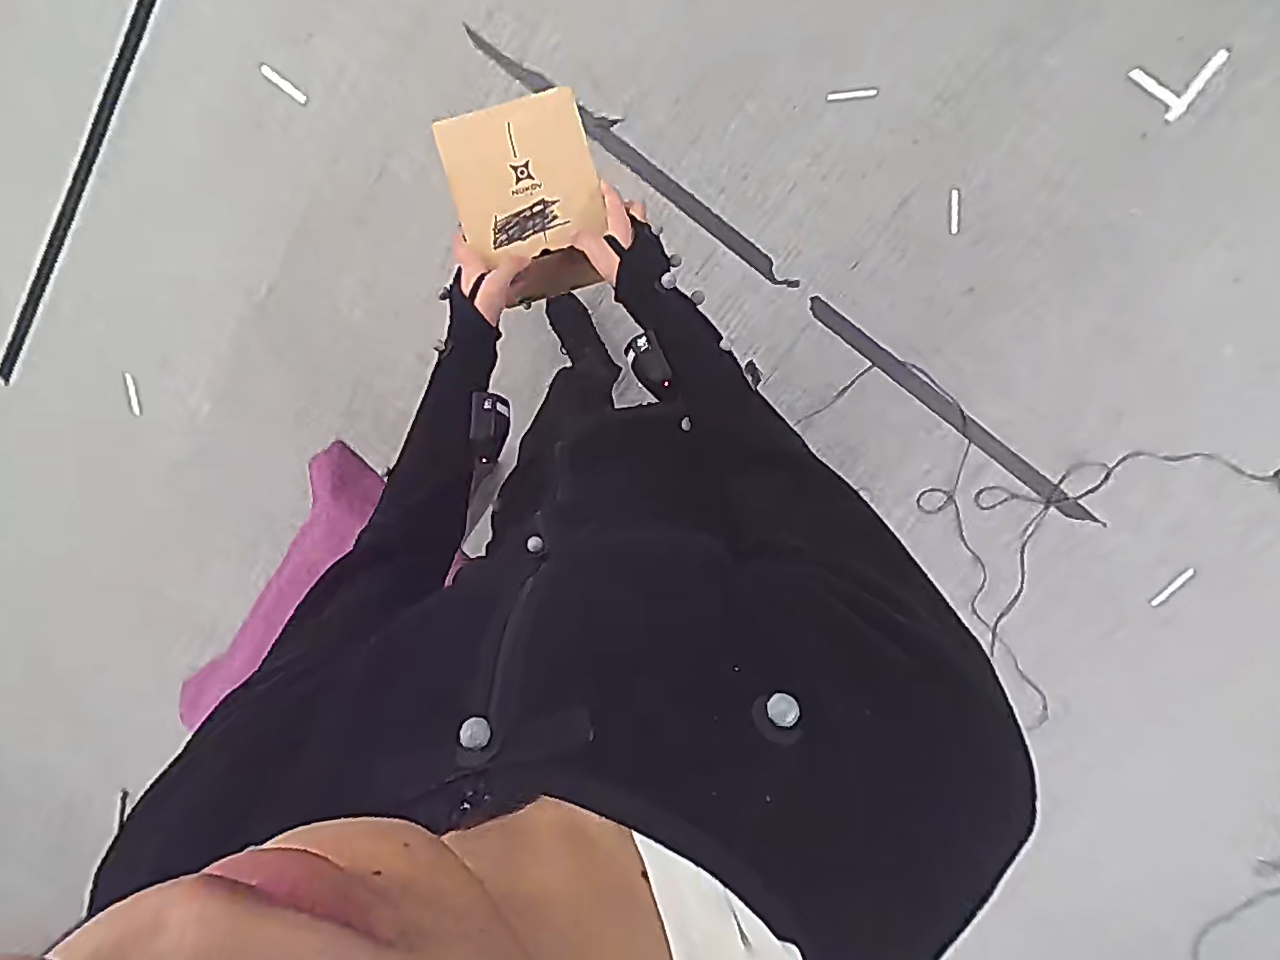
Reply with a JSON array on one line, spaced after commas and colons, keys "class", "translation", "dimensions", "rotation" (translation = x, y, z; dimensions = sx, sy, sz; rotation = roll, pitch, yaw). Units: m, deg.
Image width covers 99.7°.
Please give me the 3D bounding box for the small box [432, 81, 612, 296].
[{"class": "small box", "translation": [-0.134, -0.349, 0.689], "dimensions": [0.168, 0.176, 0.179], "rotation": [-16, 95, -1]}]
